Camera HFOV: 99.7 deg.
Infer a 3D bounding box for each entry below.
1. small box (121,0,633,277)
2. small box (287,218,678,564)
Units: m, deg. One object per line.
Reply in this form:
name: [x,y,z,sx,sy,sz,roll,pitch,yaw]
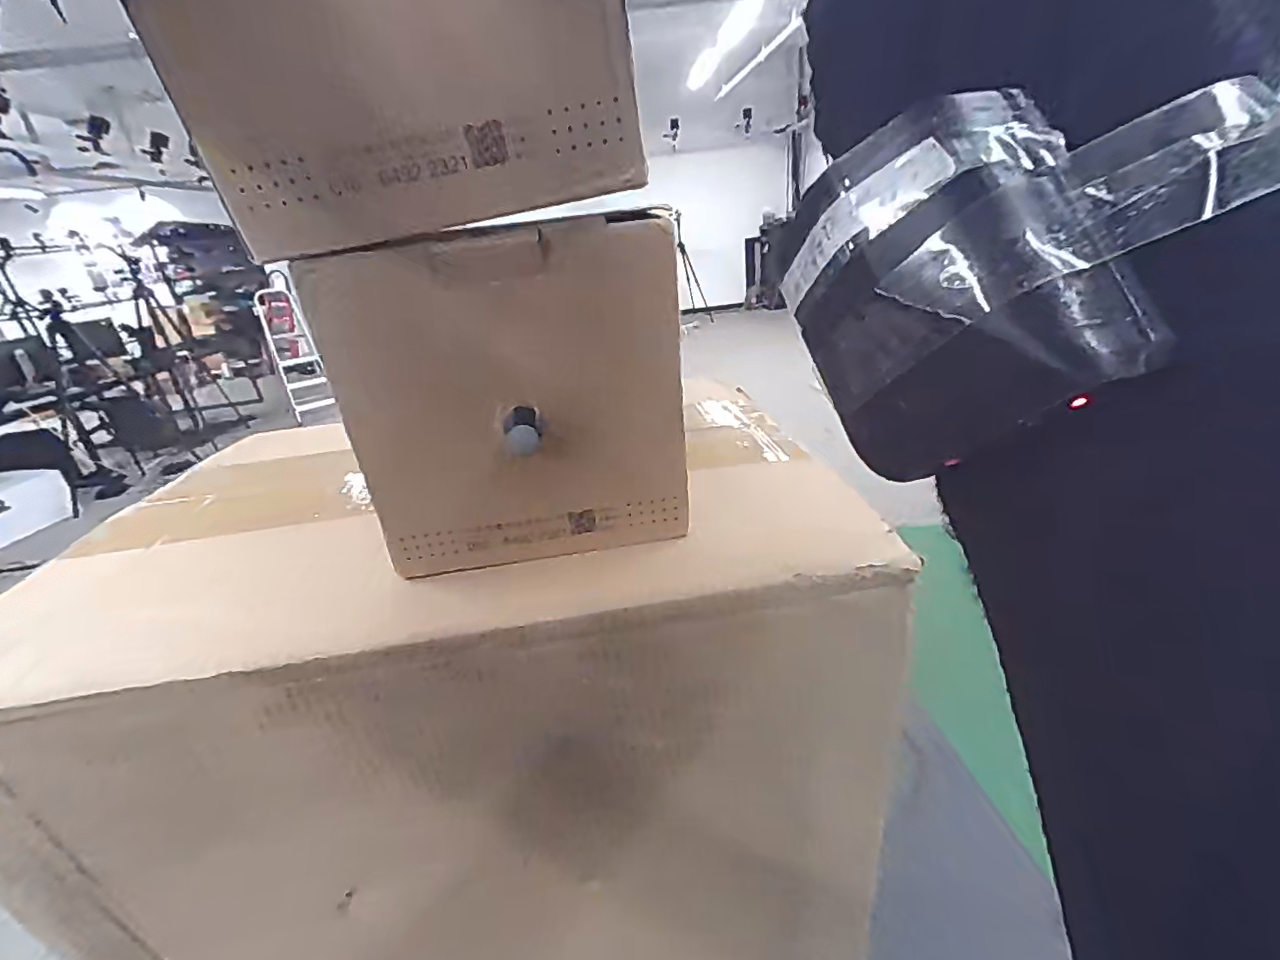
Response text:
small box: [-0.103,-0.203,0.258,0.168,0.176,0.179,-11,29,-3]
small box: [-0.073,-0.060,0.343,0.168,0.176,0.179,-8,28,-5]
